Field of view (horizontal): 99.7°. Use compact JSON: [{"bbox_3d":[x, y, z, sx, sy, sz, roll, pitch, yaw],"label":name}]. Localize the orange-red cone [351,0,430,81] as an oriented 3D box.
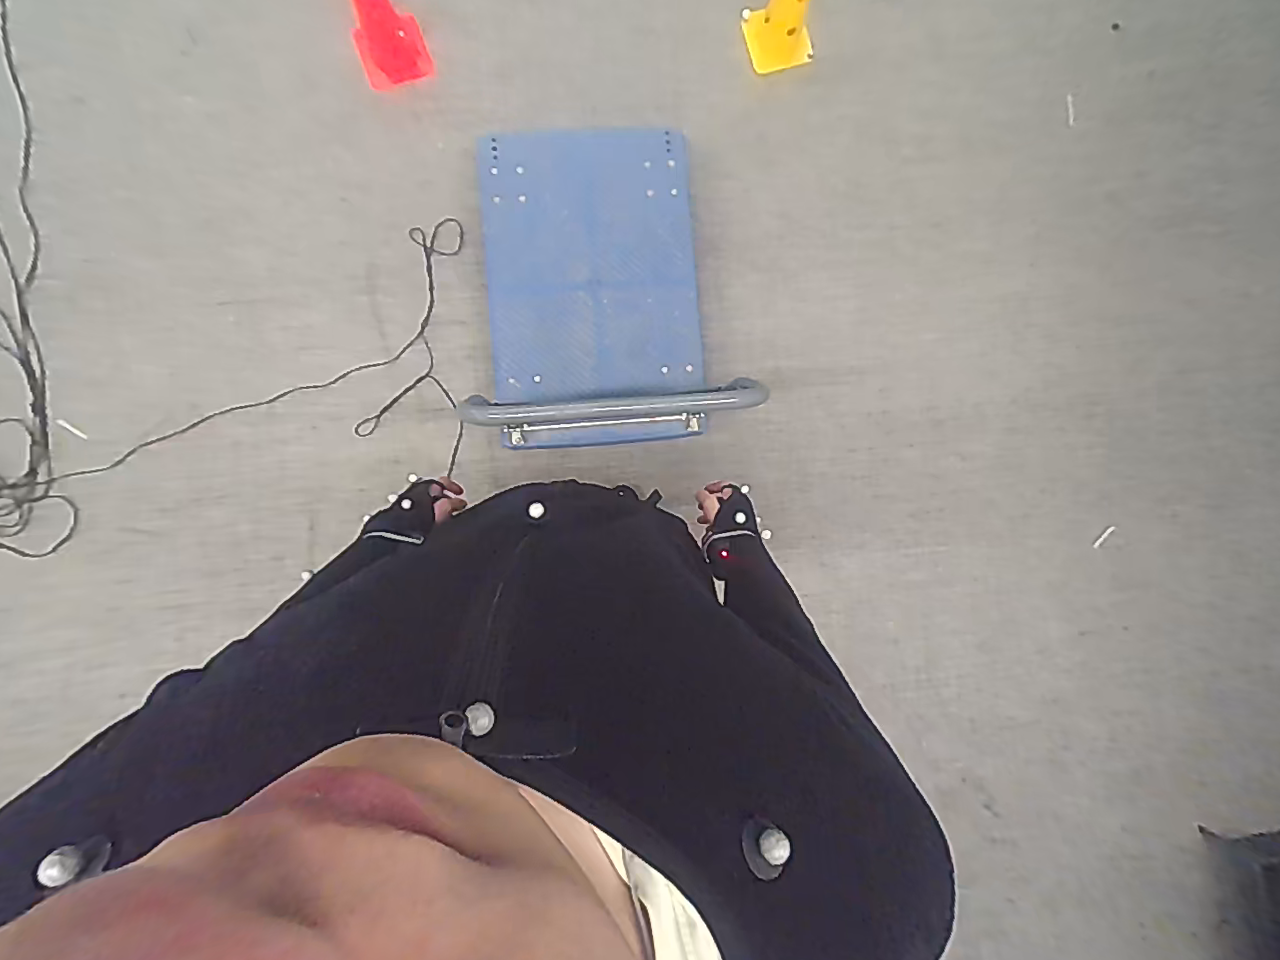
[{"bbox_3d":[-0.734,-1.305,1.442,0.199,0.360,0.198,-20,90,-3],"label":"orange-red cone"}]
